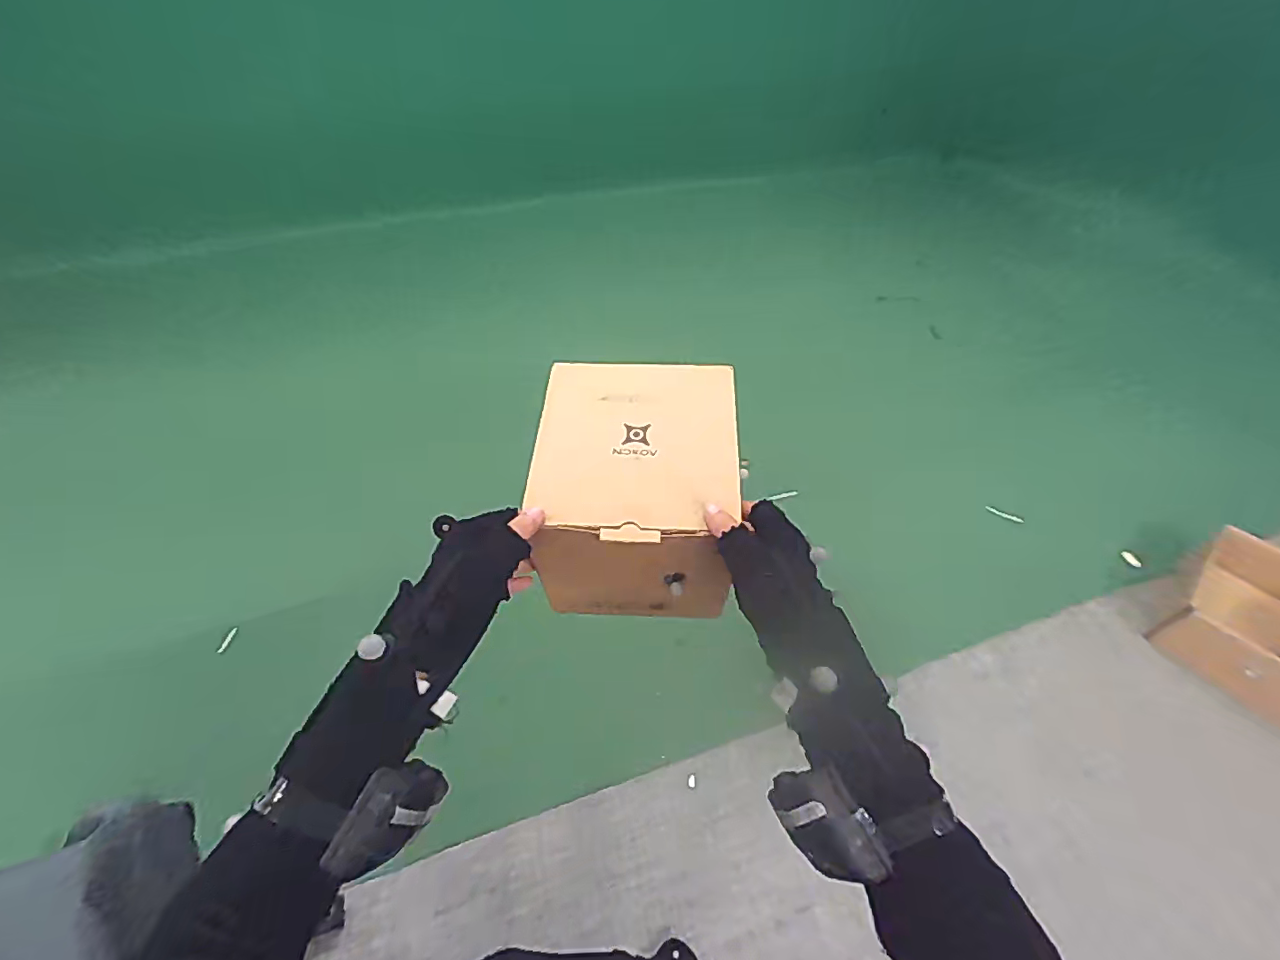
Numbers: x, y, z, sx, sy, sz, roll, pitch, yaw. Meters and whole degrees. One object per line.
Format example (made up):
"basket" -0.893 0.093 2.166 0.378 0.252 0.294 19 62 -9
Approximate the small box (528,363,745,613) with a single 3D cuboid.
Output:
"small box" 0.005 0.012 0.508 0.168 0.176 0.179 2 54 3

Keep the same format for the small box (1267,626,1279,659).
"small box" 1.781 0.420 1.376 0.179 0.176 0.168 -28 55 -23
